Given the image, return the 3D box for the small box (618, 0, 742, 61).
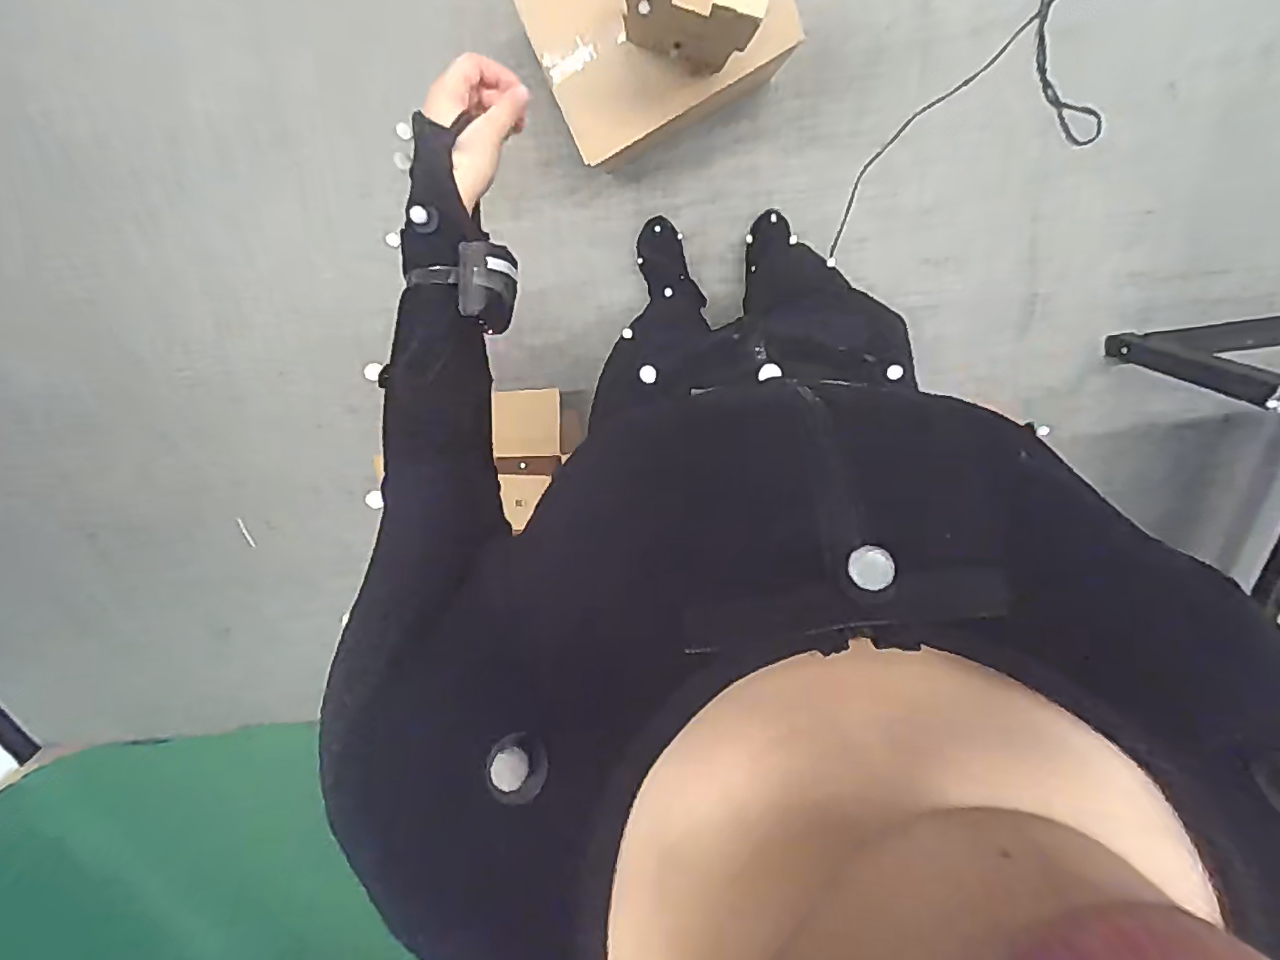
[{"bbox_3d":[0.073,-0.734,0.771,0.168,0.176,0.179,13,119,-5],"label":"small box"}]
